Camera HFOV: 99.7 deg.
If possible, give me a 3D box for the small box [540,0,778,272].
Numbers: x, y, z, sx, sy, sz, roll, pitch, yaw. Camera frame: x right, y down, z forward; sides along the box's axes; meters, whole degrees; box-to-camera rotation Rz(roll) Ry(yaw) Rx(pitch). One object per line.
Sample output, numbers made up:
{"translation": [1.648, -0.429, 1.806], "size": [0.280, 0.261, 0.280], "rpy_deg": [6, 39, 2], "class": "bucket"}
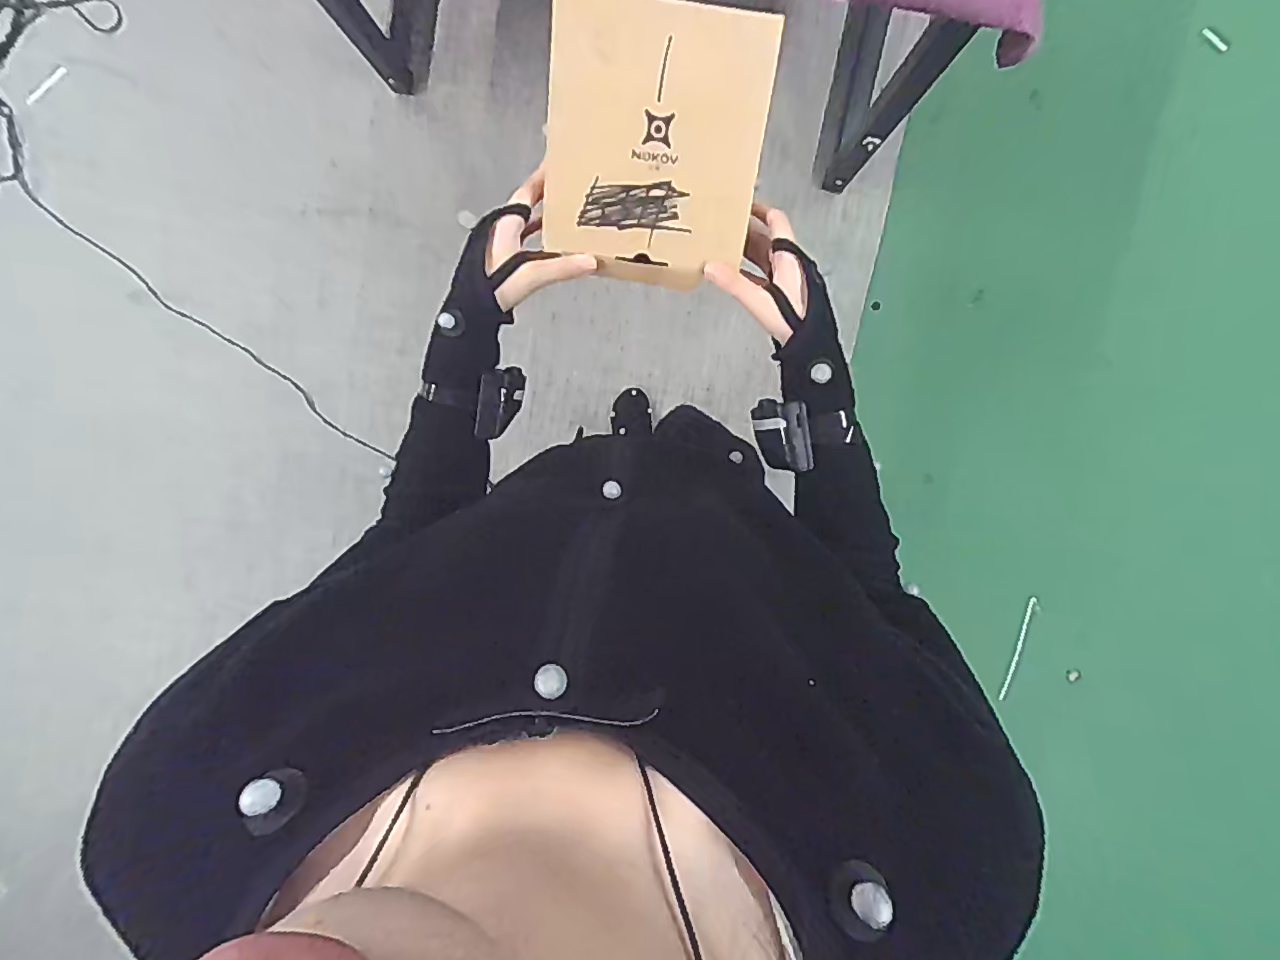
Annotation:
{"translation": [0.008, -0.294, 0.489], "size": [0.168, 0.176, 0.179], "rpy_deg": [6, 113, -4], "class": "small box"}
